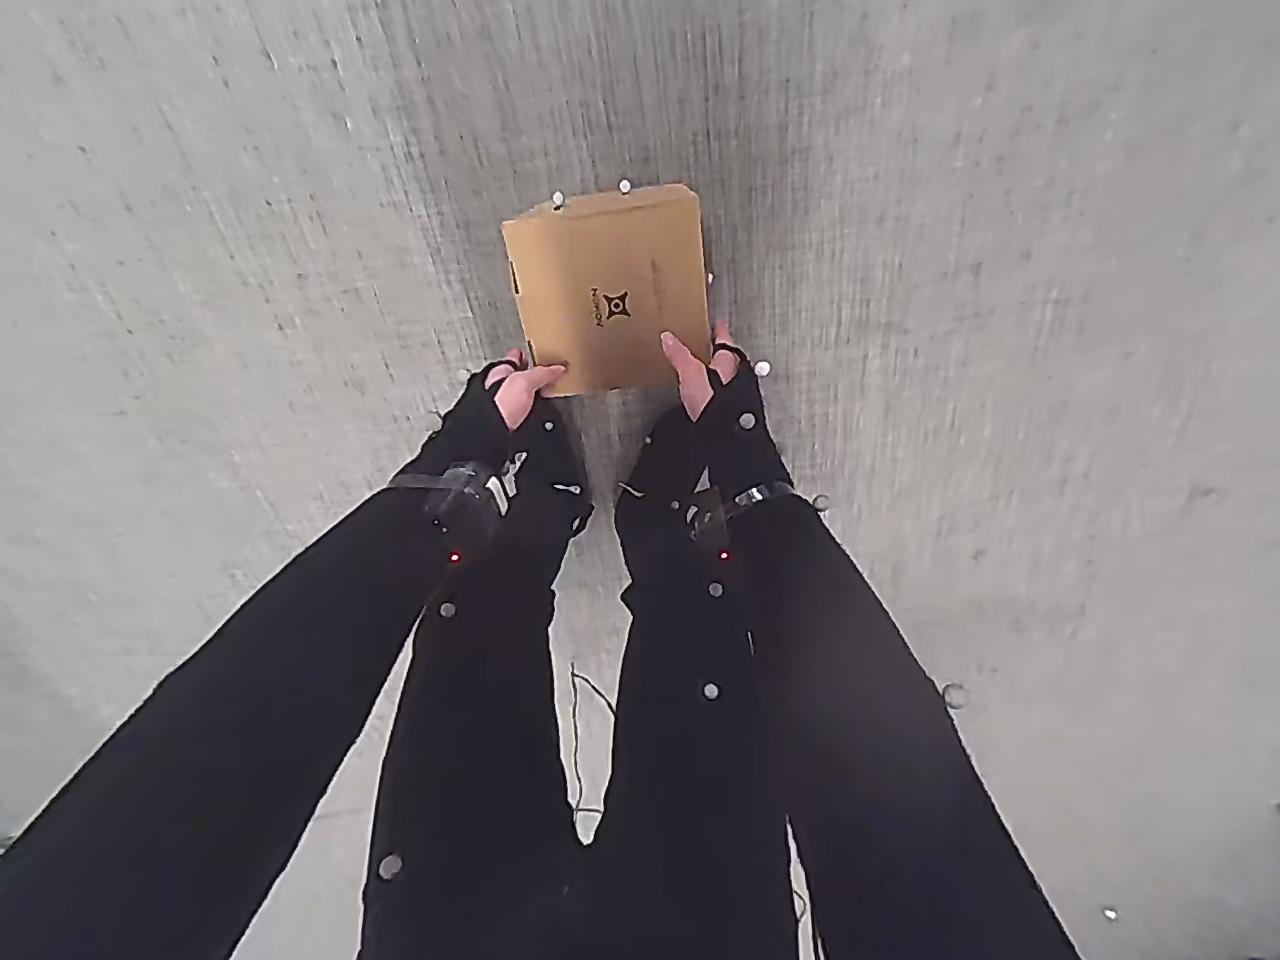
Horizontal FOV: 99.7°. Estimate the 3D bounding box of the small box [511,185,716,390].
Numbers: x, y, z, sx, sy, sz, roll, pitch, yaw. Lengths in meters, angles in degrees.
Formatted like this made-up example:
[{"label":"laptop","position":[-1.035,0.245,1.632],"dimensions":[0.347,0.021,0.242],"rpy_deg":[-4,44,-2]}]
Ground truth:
[{"label":"small box","position":[-0.020,-0.212,0.580],"dimensions":[0.179,0.176,0.168],"rpy_deg":[-8,121,3]}]
